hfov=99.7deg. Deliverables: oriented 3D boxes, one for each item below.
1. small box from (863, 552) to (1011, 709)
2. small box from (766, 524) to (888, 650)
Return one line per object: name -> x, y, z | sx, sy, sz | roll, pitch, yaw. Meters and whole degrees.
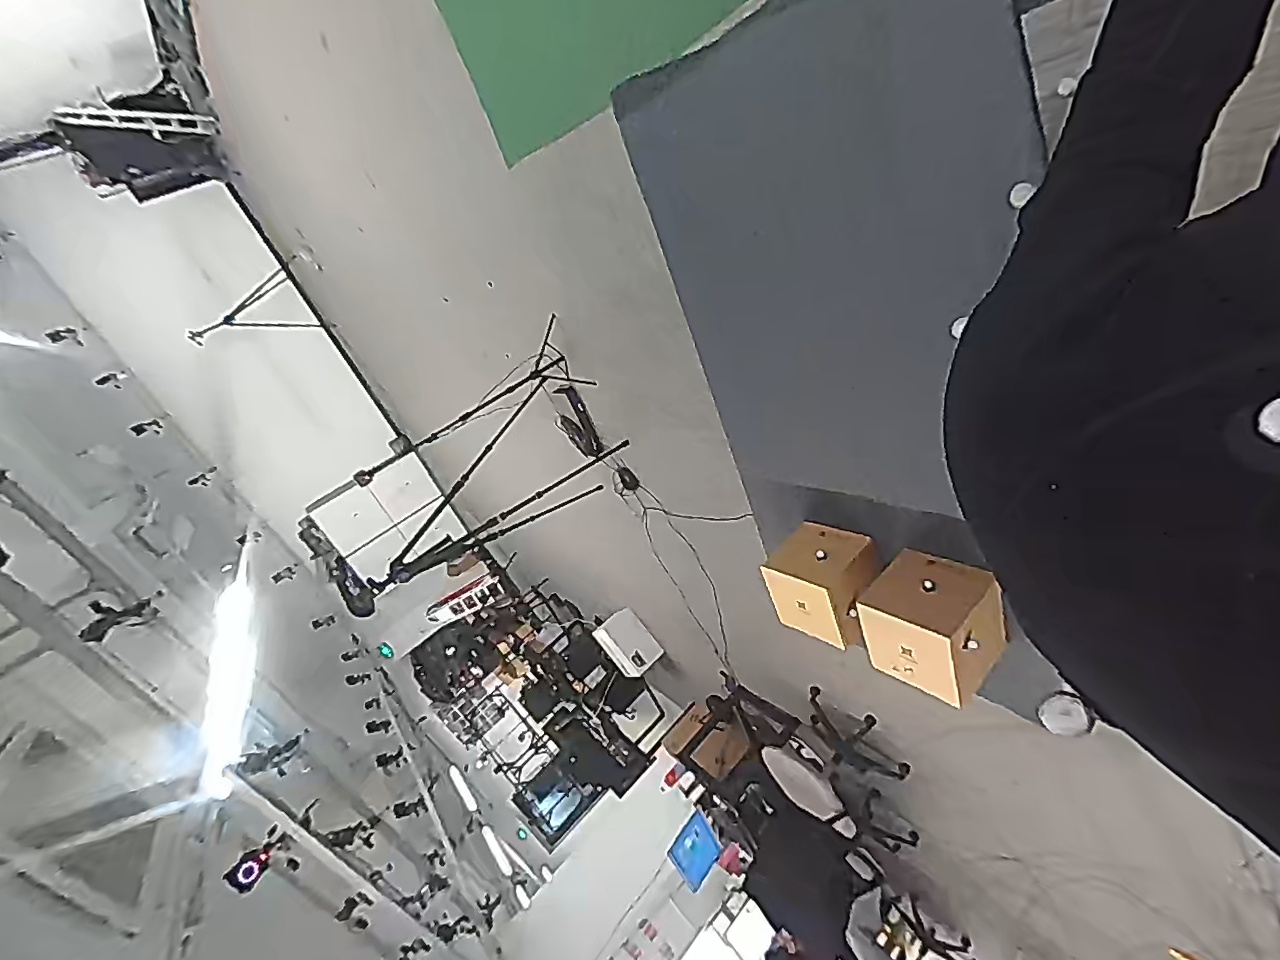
small box -> 0.531, 0.256, 0.964 | 0.168, 0.176, 0.179 | 16, 137, 54
small box -> 0.402, 0.216, 1.143 | 0.168, 0.176, 0.179 | 13, 135, 53
